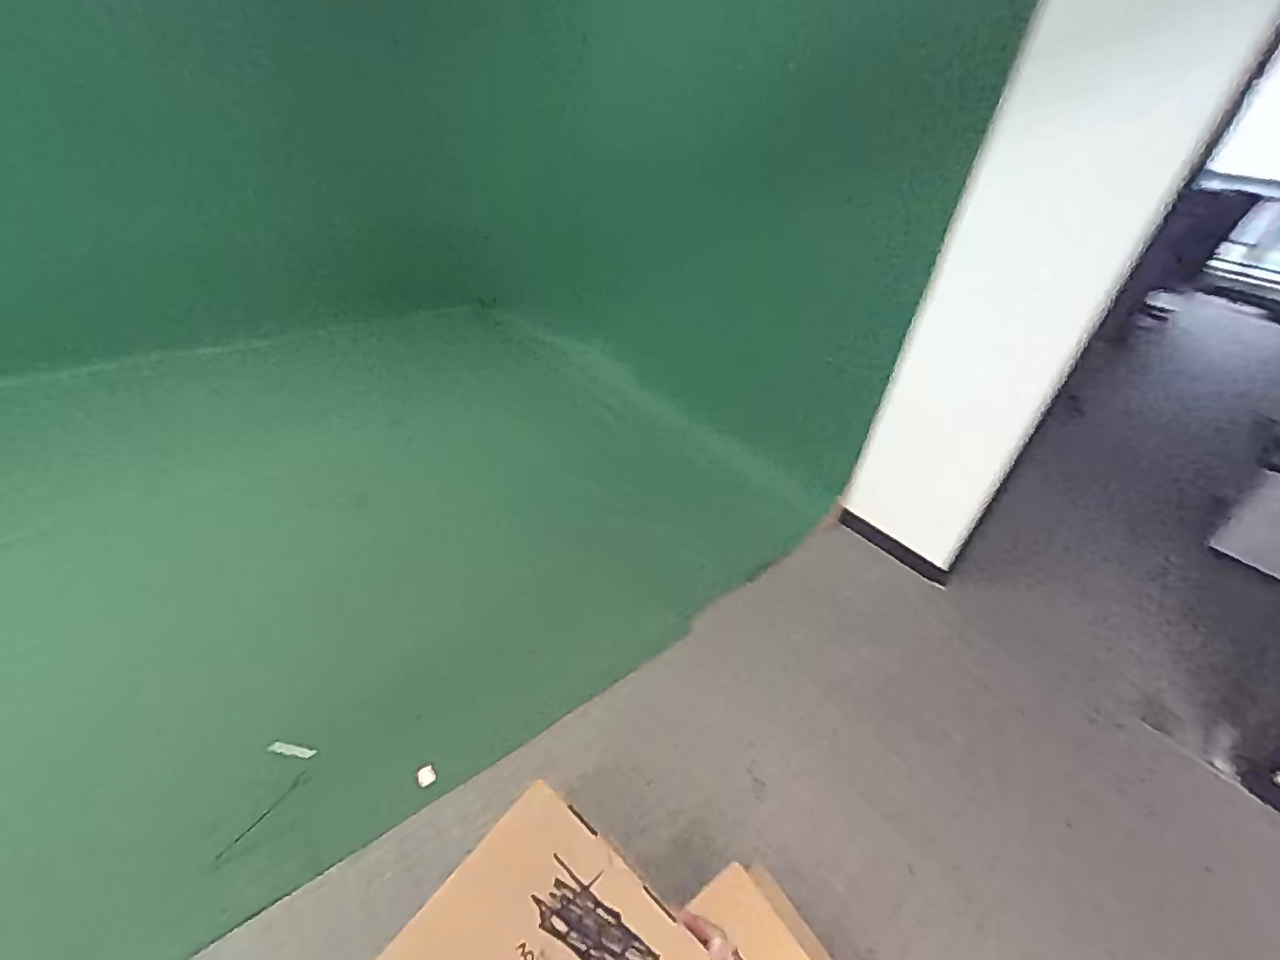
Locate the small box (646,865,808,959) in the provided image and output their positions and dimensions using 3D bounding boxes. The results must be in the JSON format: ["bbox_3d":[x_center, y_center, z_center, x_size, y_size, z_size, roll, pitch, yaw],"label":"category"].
[{"bbox_3d":[0.114,0.684,0.737,0.179,0.176,0.168,-20,44,-29],"label":"small box"}]
